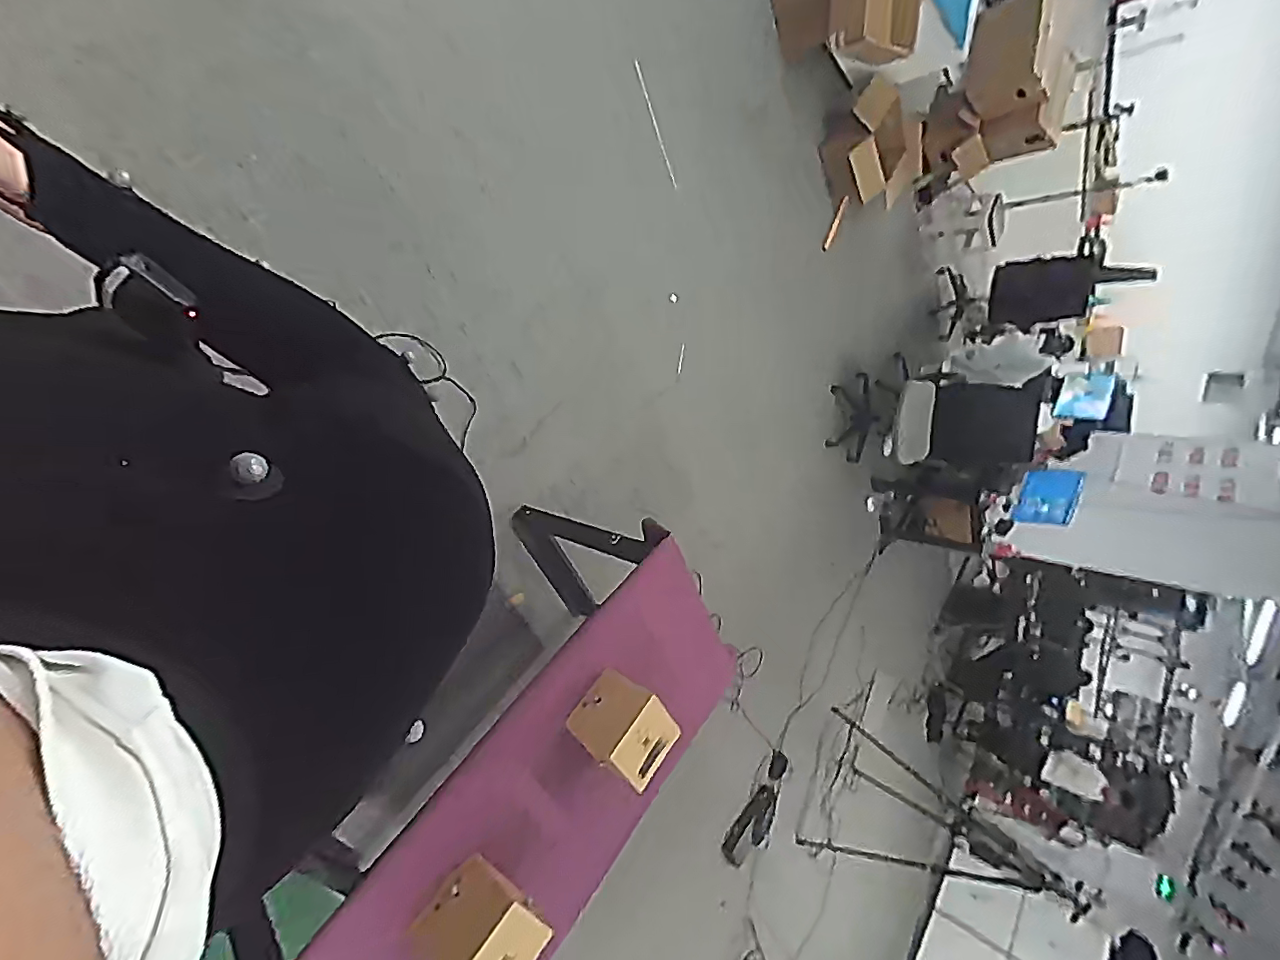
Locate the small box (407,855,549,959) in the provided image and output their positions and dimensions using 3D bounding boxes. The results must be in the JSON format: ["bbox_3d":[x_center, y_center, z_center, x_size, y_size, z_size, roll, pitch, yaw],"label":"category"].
[{"bbox_3d":[-0.317,0.889,1.065,0.168,0.176,0.179,-45,128,-32],"label":"small box"}]
